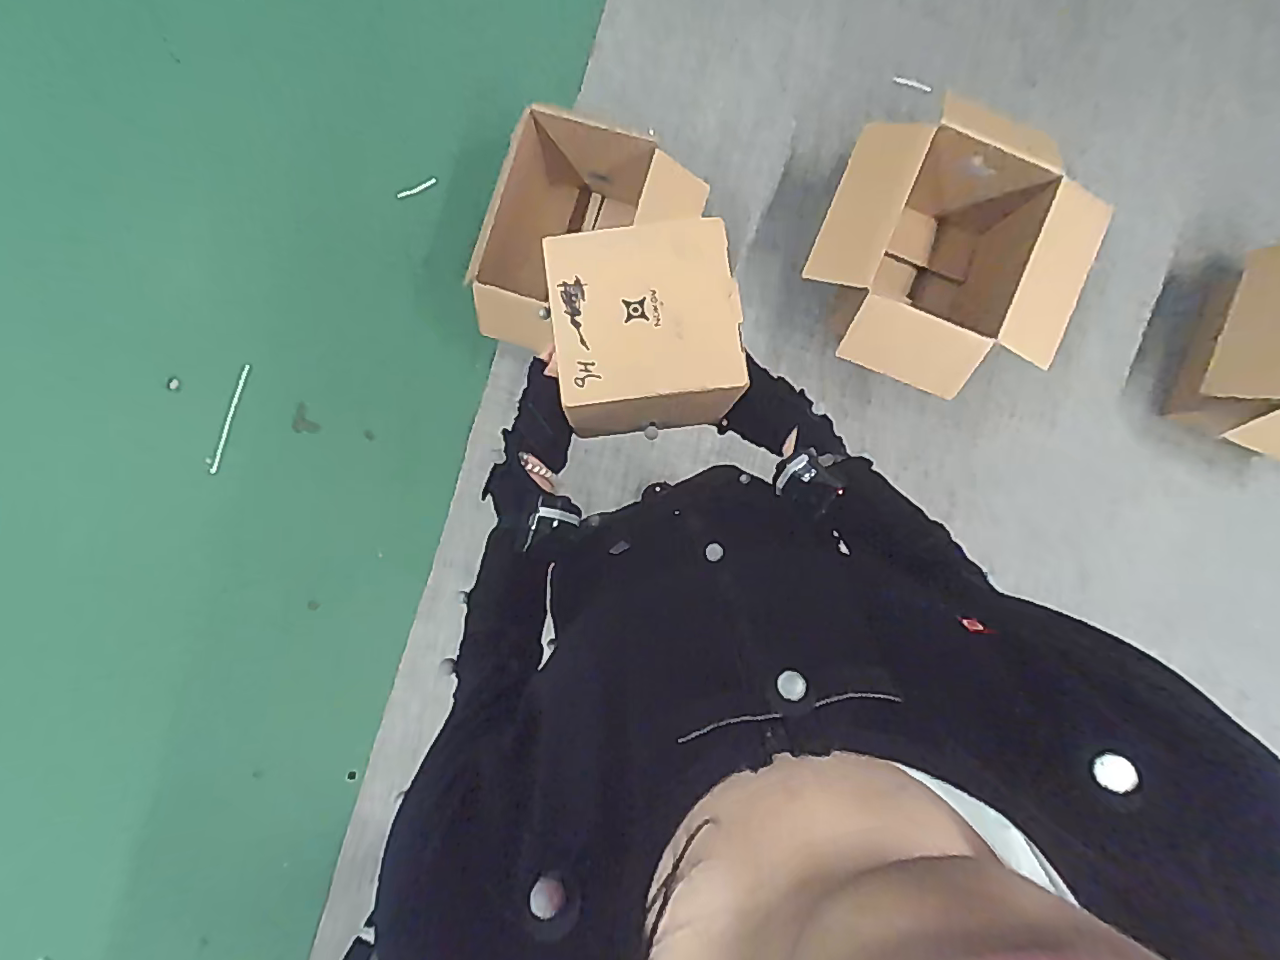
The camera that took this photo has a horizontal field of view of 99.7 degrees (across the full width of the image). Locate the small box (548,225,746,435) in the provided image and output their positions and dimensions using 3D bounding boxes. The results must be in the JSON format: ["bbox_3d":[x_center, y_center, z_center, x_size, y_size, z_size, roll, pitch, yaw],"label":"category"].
[{"bbox_3d":[0.002,-0.149,0.587,0.179,0.176,0.168,-6,84,-3],"label":"small box"}]
